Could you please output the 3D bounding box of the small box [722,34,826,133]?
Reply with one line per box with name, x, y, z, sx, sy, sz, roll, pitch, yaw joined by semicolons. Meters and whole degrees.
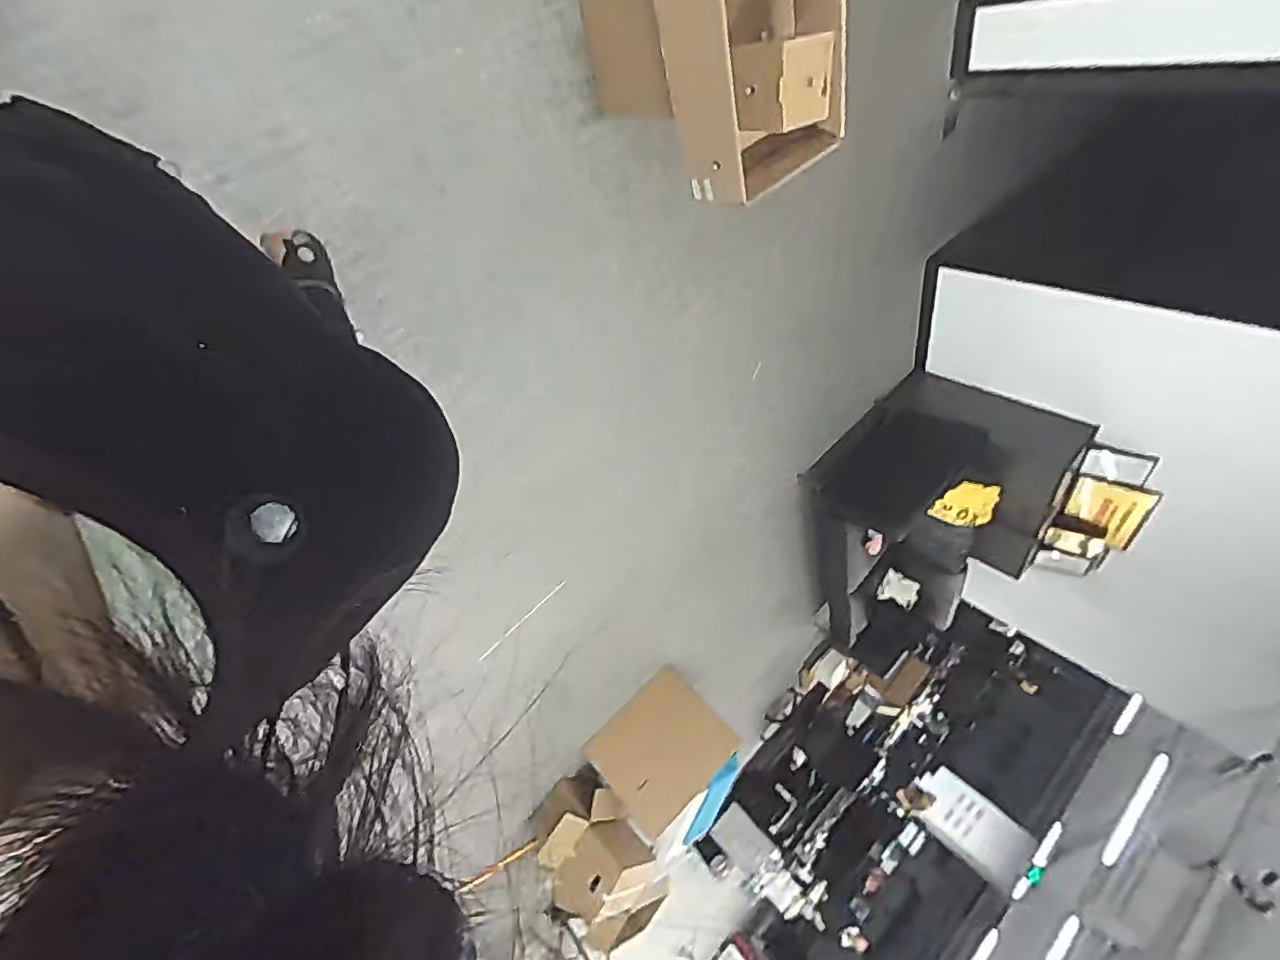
small box;0.304;-0.919;1.260;0.179;0.176;0.168;-32;135;-26
